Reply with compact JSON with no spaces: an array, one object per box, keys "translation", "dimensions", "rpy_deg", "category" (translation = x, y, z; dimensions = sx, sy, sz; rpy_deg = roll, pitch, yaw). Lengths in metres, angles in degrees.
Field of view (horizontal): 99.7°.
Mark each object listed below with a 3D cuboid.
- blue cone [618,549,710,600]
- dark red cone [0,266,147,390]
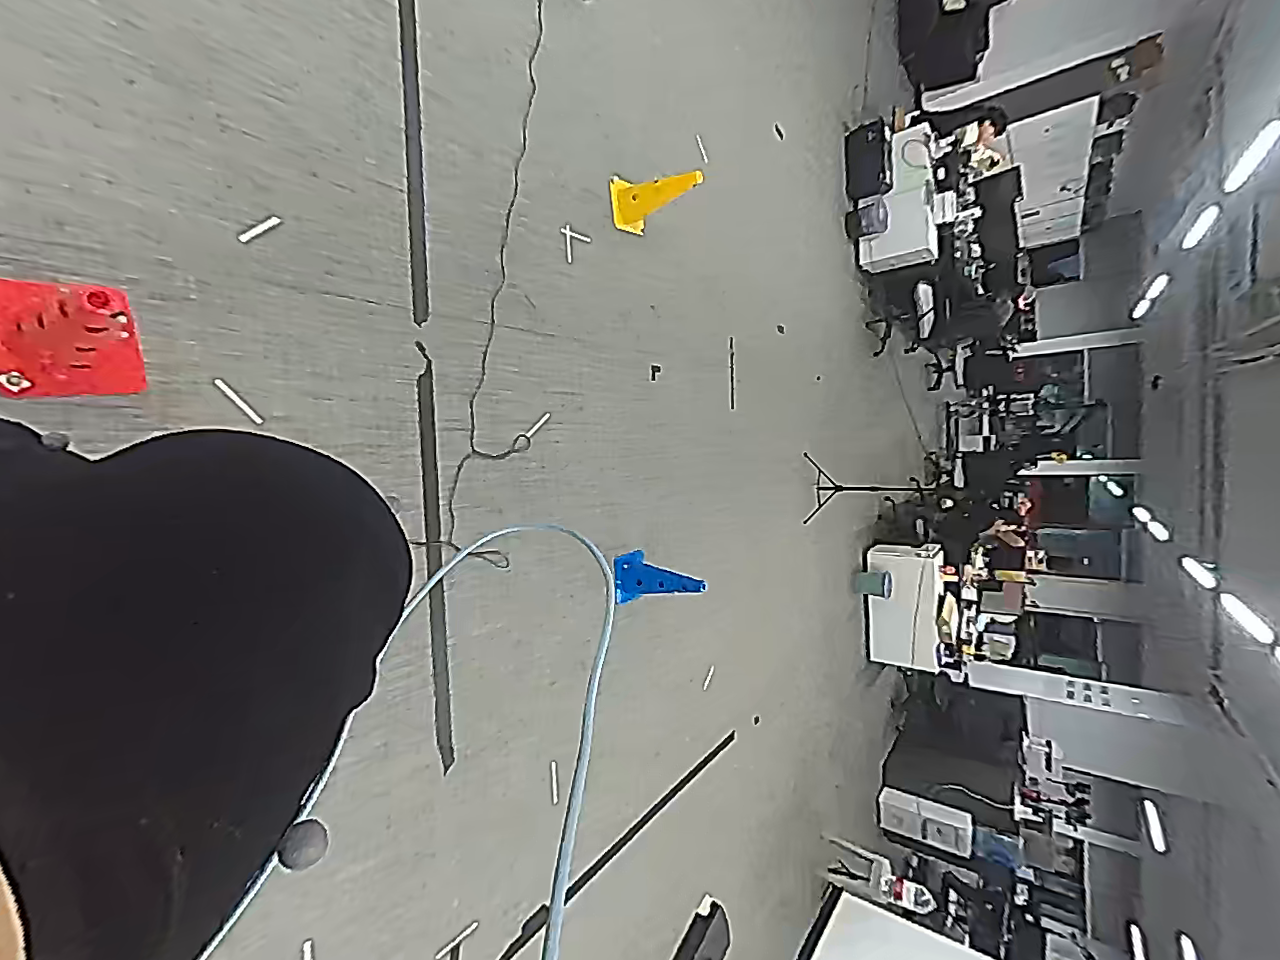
[{"translation":[0.100,0.393,2.153],"dimensions":[0.192,0.380,0.193],"rpy_deg":[-5,94,-54],"category":"blue cone"},{"translation":[-0.873,-0.260,0.840],"dimensions":[0.201,0.394,0.202],"rpy_deg":[-19,105,-52],"category":"dark red cone"}]
